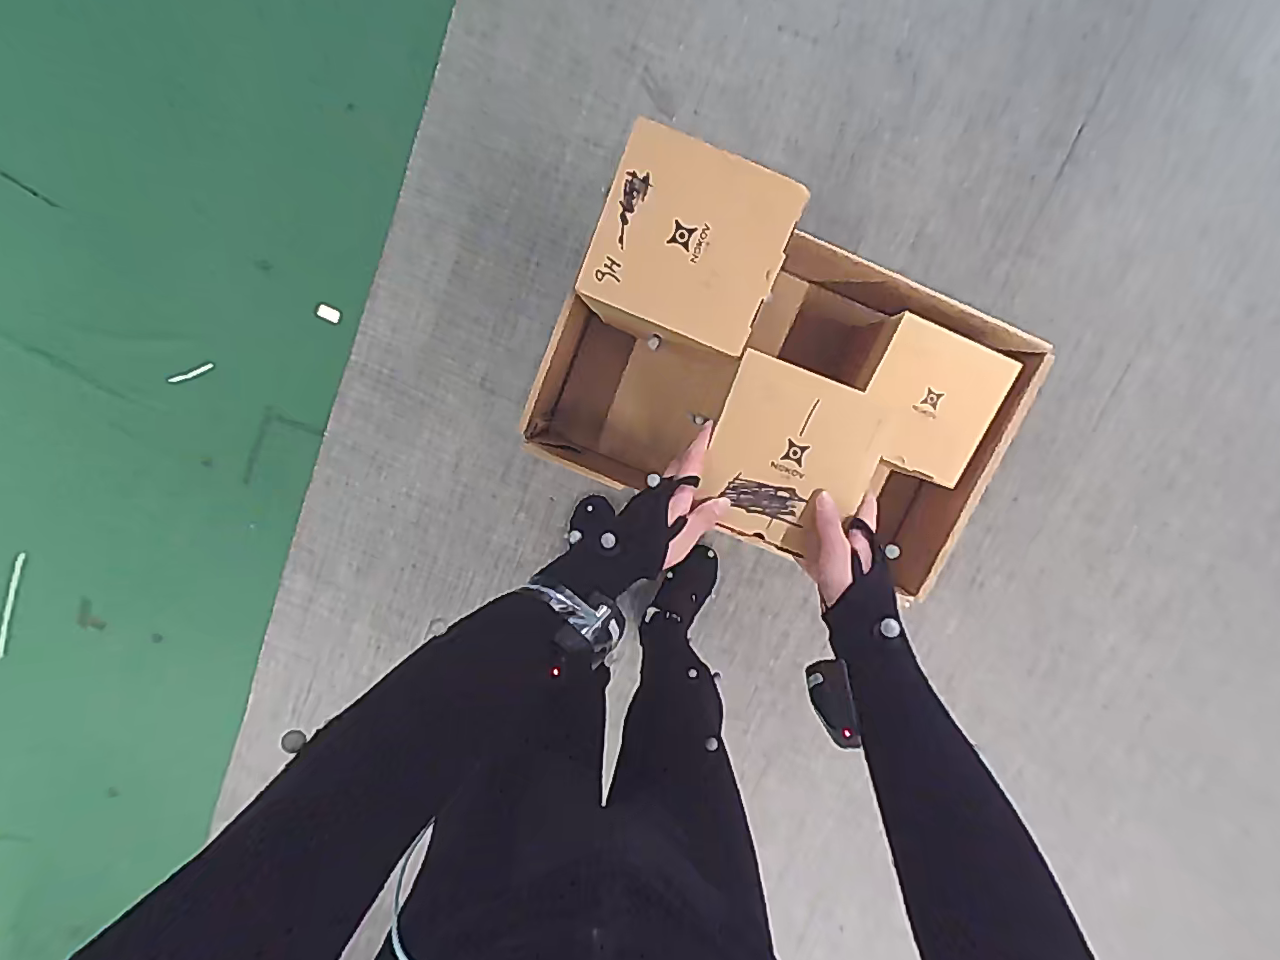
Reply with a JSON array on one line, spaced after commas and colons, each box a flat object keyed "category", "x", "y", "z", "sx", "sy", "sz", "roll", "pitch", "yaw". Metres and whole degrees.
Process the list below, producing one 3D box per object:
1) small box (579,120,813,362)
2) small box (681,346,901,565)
[{"category": "small box", "x": 0.052, "y": -0.238, "z": 0.587, "sx": 0.179, "sy": 0.176, "sz": 0.168, "roll": 22, "pitch": 100, "yaw": -3}, {"category": "small box", "x": 0.152, "y": -0.030, "z": 0.613, "sx": 0.168, "sy": 0.176, "sz": 0.179, "roll": 21, "pitch": 96, "yaw": -2}]
